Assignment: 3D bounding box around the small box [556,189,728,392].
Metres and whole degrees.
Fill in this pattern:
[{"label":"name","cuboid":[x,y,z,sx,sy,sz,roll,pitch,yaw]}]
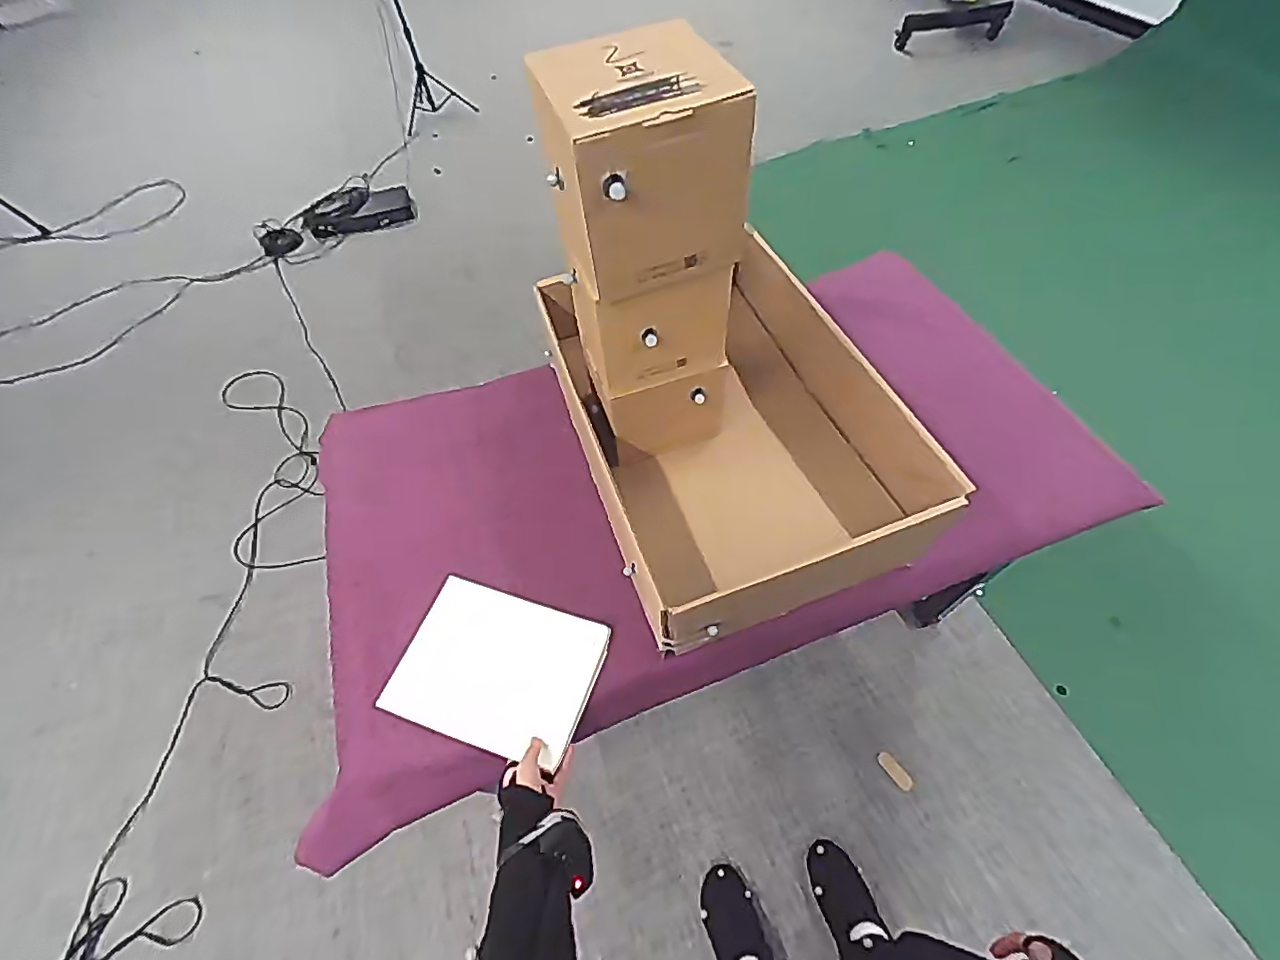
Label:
[{"label":"small box","cuboid":[0.005,-0.236,0.704,0.168,0.176,0.179,-18,58,-6]}]
